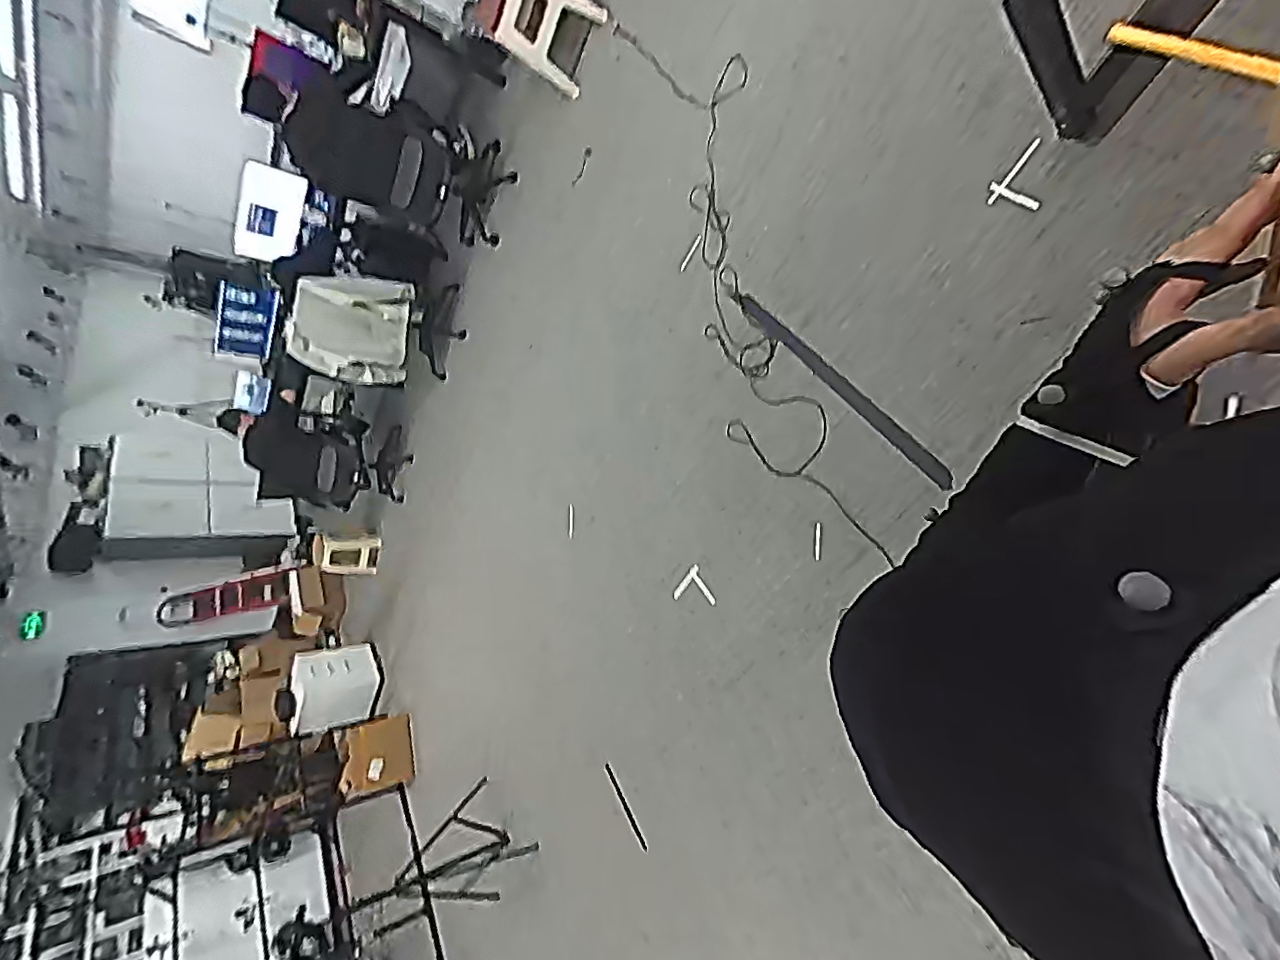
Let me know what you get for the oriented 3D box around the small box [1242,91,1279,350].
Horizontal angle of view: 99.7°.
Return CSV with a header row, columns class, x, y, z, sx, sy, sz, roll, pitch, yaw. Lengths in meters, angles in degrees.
class,x,y,z,sx,sy,sz,roll,pitch,yaw
small box,0.464,-0.180,0.292,0.168,0.176,0.179,7,92,43
